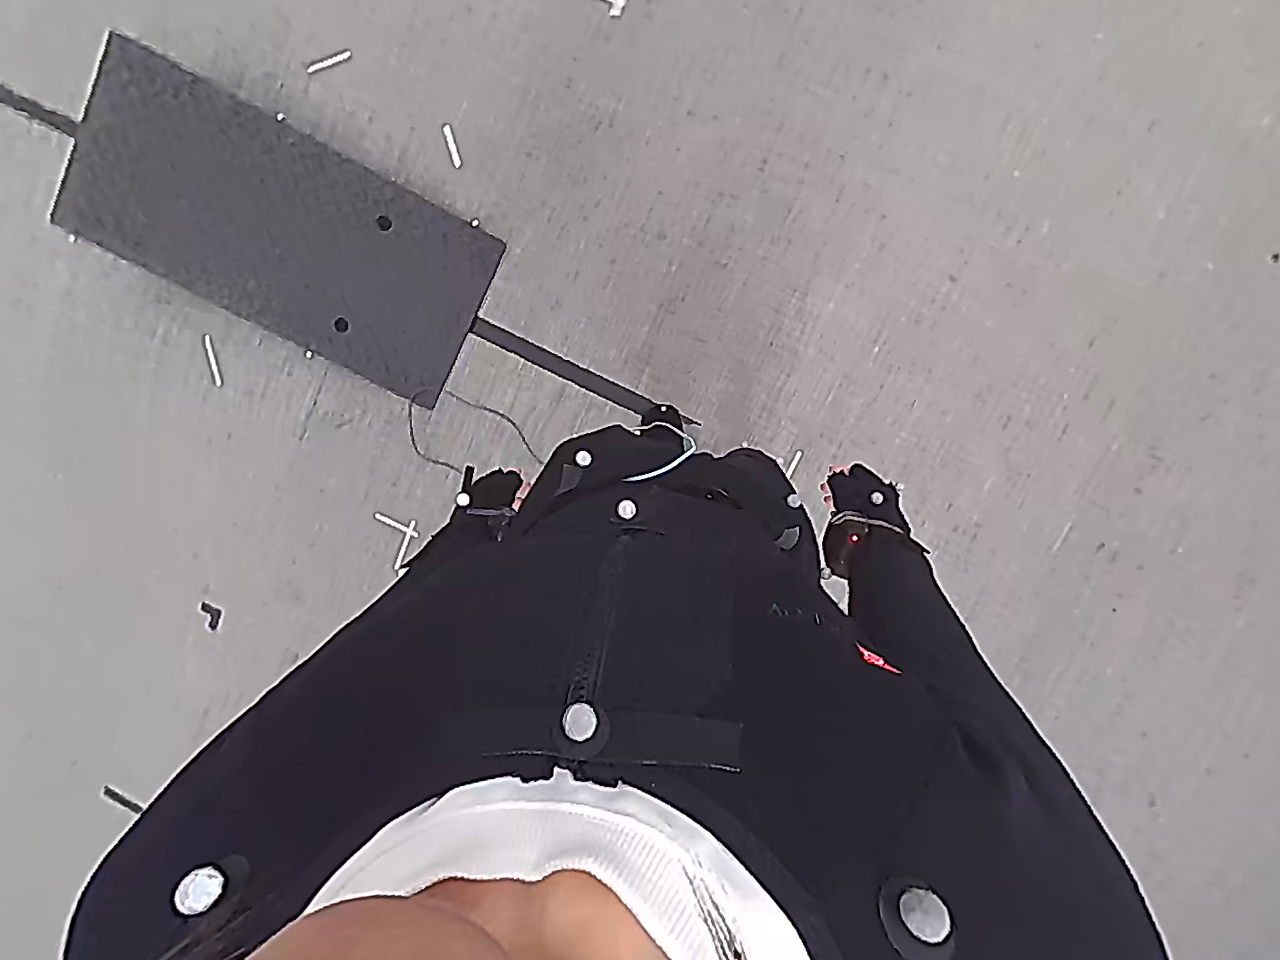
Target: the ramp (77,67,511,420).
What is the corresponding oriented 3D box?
[{"bbox_3d":[-0.886,-0.588,1.413,0.991,0.206,0.509,25,96,3],"label":"ramp"}]
